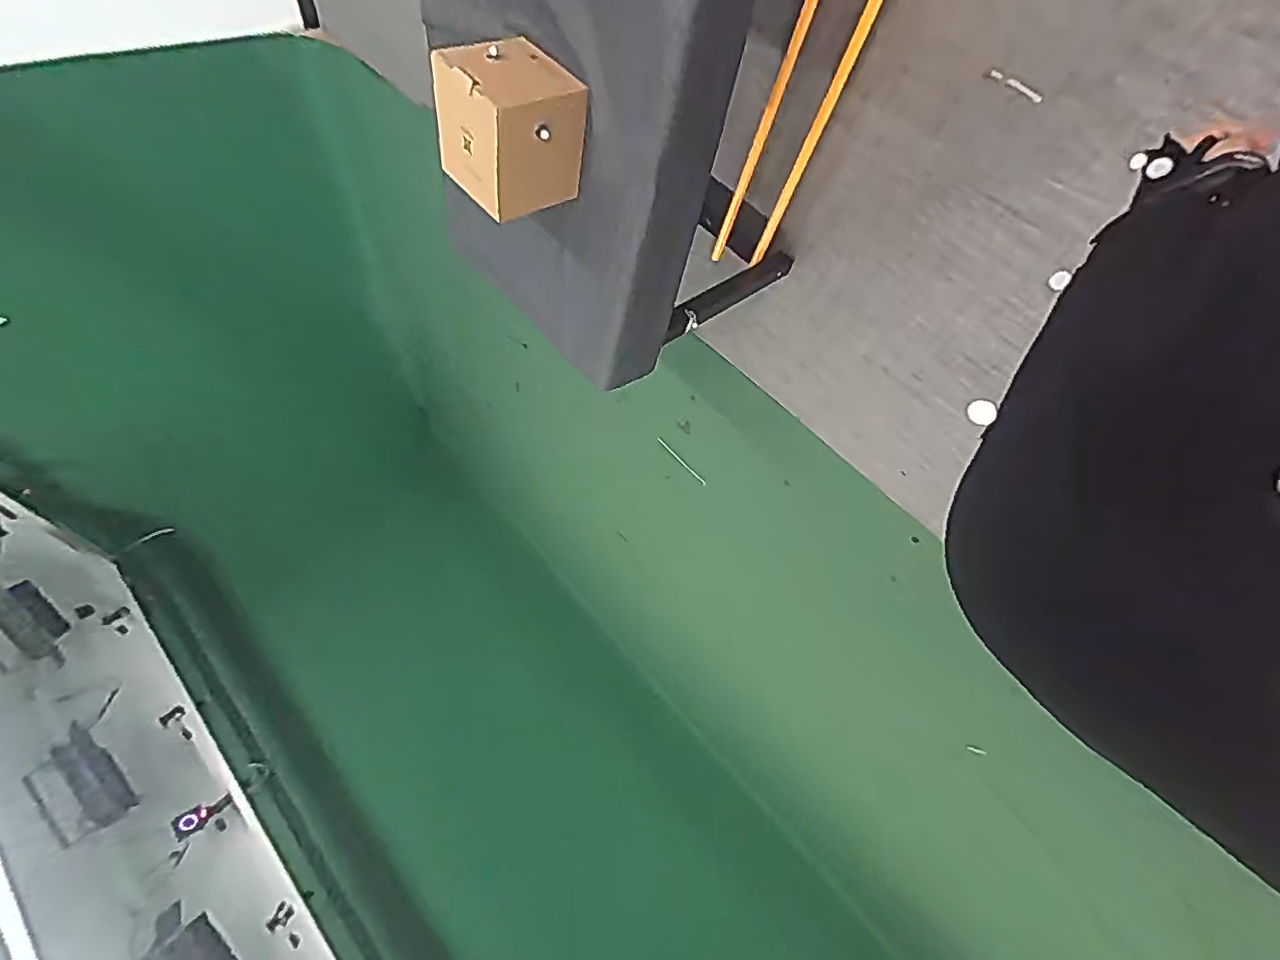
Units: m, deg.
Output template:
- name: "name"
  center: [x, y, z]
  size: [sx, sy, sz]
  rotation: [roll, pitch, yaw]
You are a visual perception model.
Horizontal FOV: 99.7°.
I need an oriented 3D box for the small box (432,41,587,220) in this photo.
- name: "small box"
  center: [-0.202, -0.557, 0.858]
  size: [0.168, 0.176, 0.179]
  rotation: [47, 151, 16]
